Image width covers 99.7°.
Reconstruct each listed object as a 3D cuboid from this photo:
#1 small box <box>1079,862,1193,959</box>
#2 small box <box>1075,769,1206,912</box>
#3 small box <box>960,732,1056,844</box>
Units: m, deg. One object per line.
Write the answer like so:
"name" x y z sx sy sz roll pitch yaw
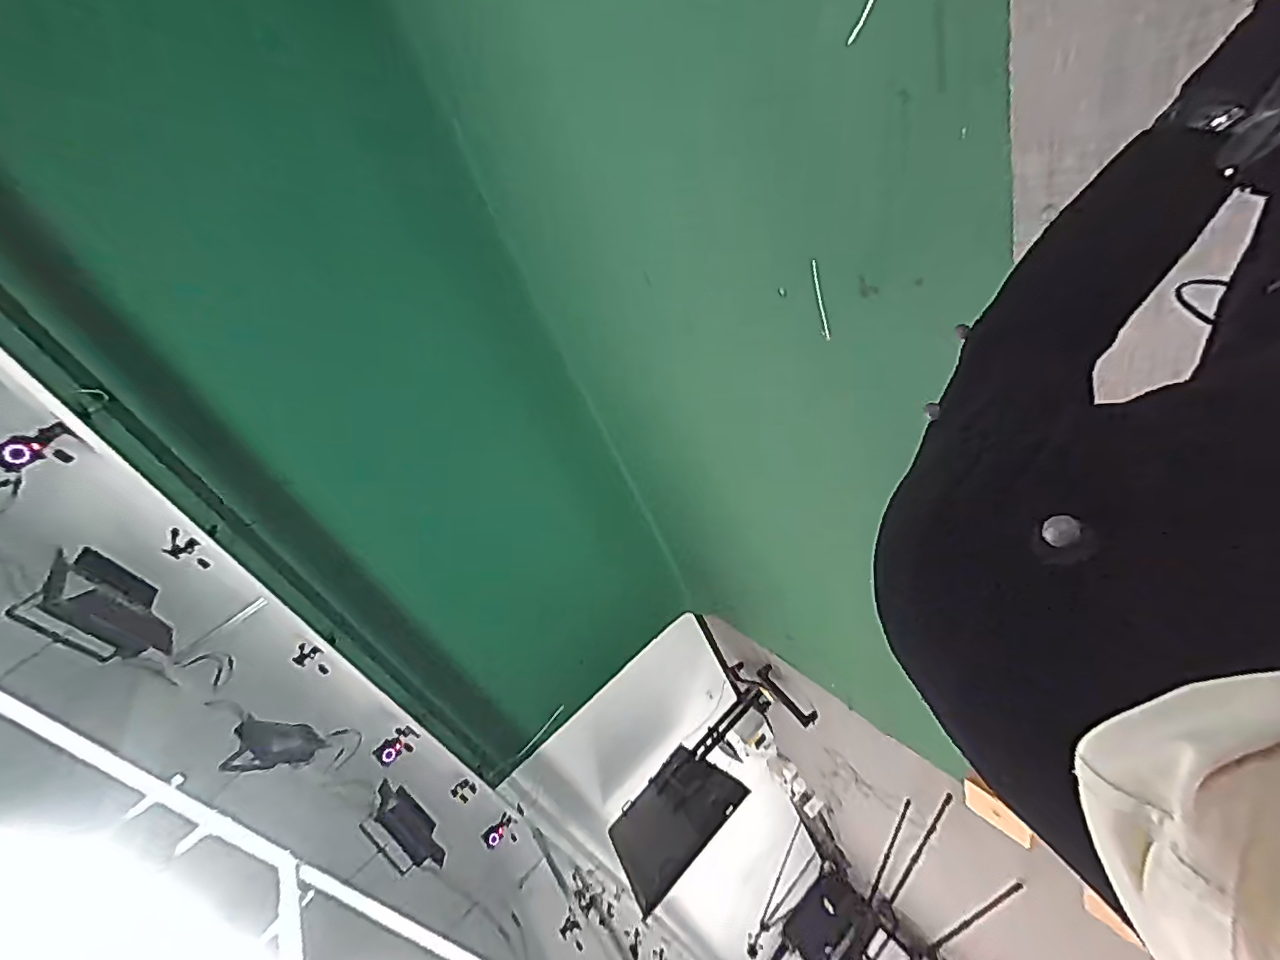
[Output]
"small box" 1.224 1.017 1.338 0.168 0.176 0.179 22 144 53
"small box" 1.104 0.791 1.198 0.168 0.176 0.179 24 148 51
"small box" 1.015 0.846 1.493 0.168 0.176 0.179 25 147 50
